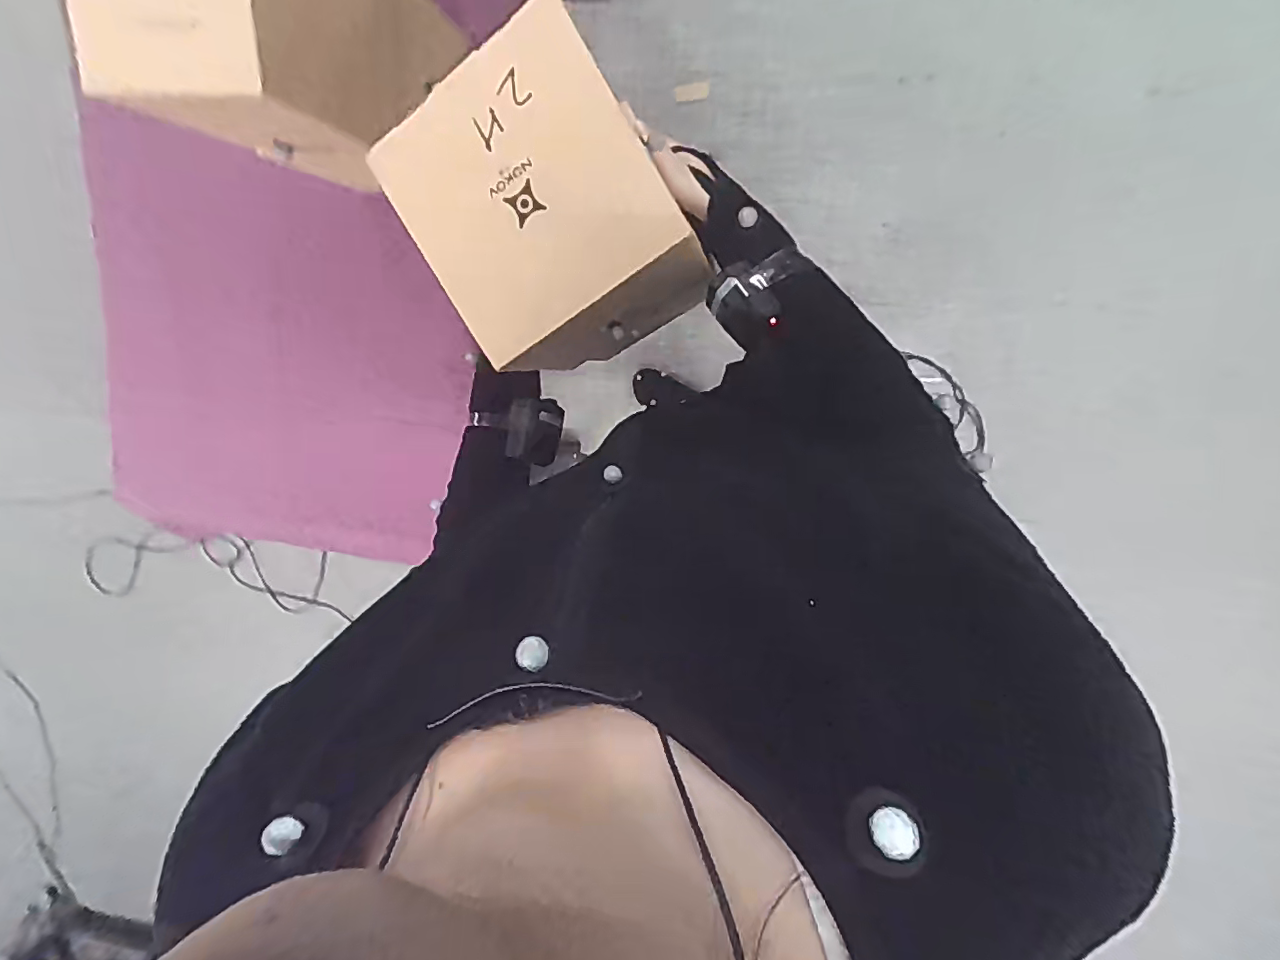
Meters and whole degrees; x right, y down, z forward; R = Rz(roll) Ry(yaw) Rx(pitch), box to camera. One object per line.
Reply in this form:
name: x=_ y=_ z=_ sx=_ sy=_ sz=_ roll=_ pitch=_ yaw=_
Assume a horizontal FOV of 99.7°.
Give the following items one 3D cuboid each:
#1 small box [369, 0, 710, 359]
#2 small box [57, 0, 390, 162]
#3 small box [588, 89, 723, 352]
small box: x=-0.057 y=-0.211 z=0.425 sx=0.168 sy=0.176 sz=0.179 roll=-29 pitch=93 yaw=16
small box: x=-0.336 y=-0.398 z=0.461 sx=0.168 sy=0.176 sz=0.179 roll=8 pitch=106 yaw=10
small box: x=-0.024 y=-0.251 z=0.581 sx=0.179 sy=0.176 sz=0.168 roll=-28 pitch=93 yaw=15
